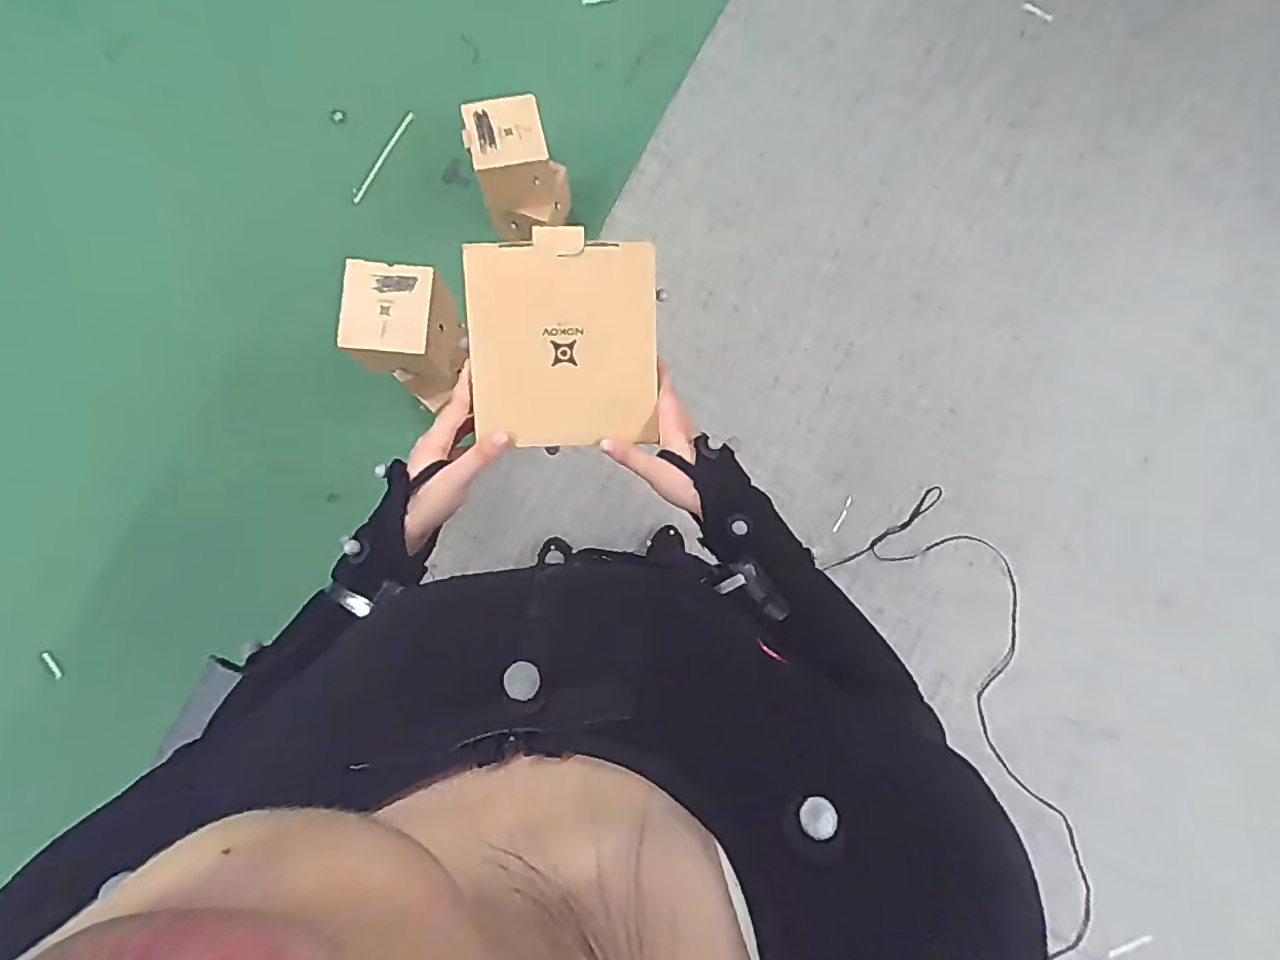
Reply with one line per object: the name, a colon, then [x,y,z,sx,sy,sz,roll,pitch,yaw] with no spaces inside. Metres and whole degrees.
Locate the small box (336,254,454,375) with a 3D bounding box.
small box: [-0.485,-0.327,1.097,0.168,0.176,0.179,4,86,-5]

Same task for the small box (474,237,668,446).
small box: [-0.061,-0.132,0.548,0.168,0.176,0.179,-3,99,-4]

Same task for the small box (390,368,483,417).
small box: [-0.523,-0.282,1.419,0.179,0.176,0.168,43,83,1]

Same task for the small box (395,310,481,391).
small box: [-0.492,-0.321,1.261,0.168,0.176,0.179,-26,87,-7]

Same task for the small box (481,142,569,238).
small box: [-0.306,-0.769,1.474,0.179,0.176,0.168,18,84,-1]
